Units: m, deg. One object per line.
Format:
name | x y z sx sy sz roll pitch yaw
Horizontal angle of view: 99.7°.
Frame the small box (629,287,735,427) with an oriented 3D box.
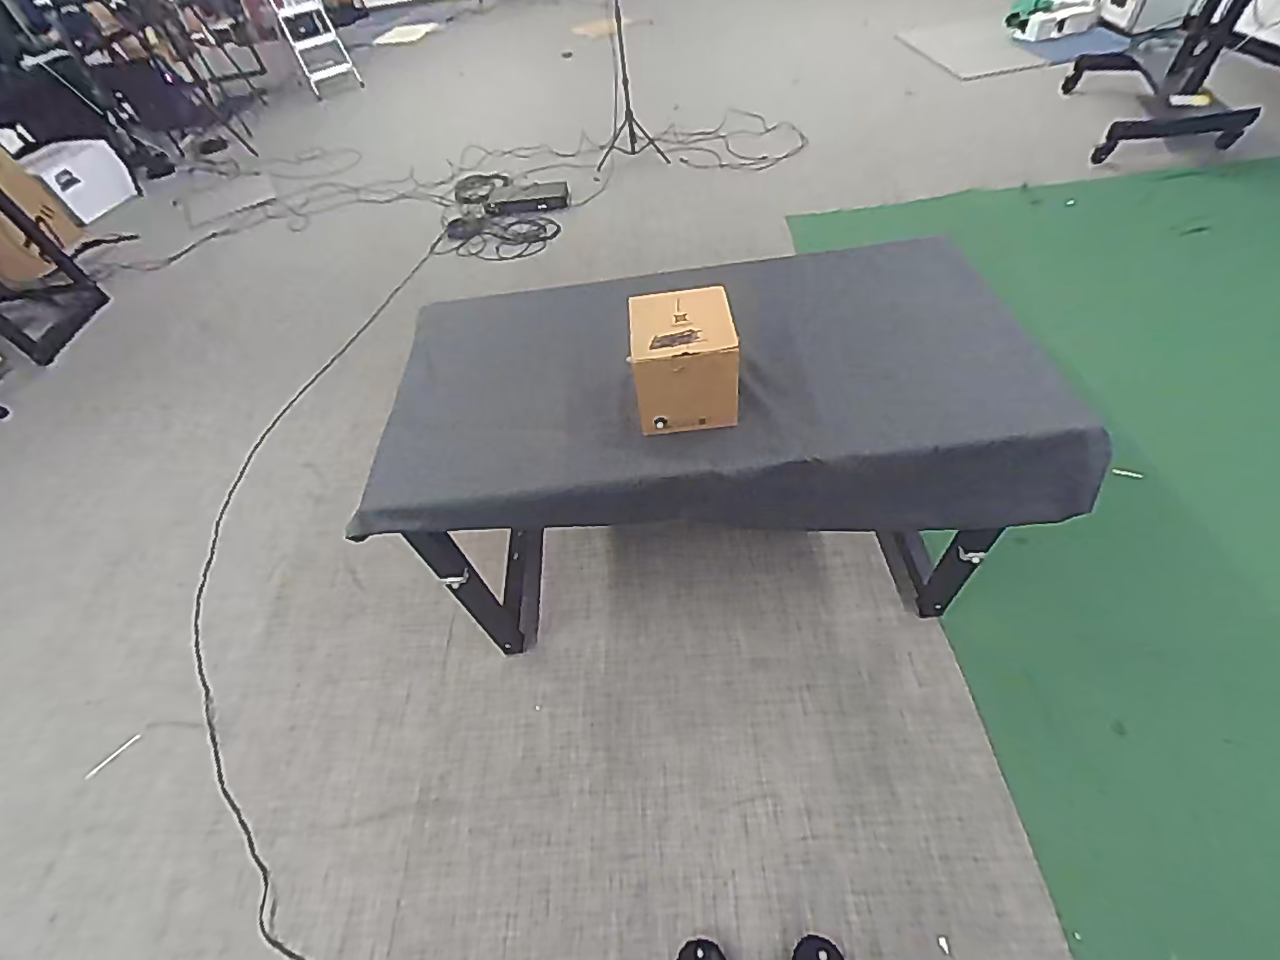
small box | 0.073 -0.206 0.941 0.168 0.176 0.179 -5 50 3
